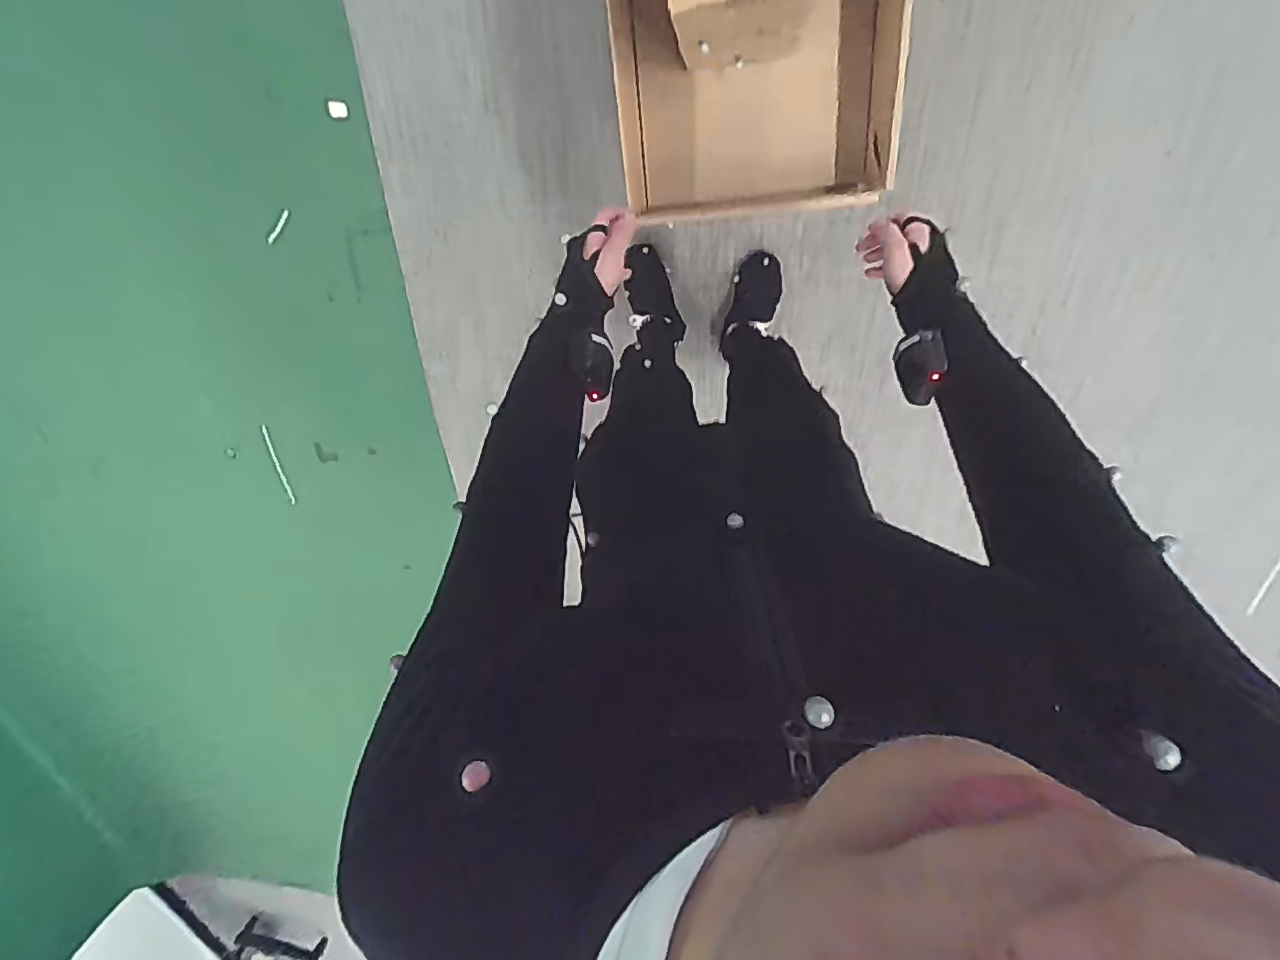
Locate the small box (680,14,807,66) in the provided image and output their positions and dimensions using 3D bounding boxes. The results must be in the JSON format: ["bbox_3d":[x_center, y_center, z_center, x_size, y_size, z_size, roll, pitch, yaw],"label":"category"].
[{"bbox_3d":[0.139,-0.699,0.738,0.168,0.176,0.179,0,118,10],"label":"small box"}]

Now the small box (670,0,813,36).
[{"bbox_3d":[0.115,-0.622,0.595,0.168,0.176,0.179,-3,116,10],"label":"small box"}]
